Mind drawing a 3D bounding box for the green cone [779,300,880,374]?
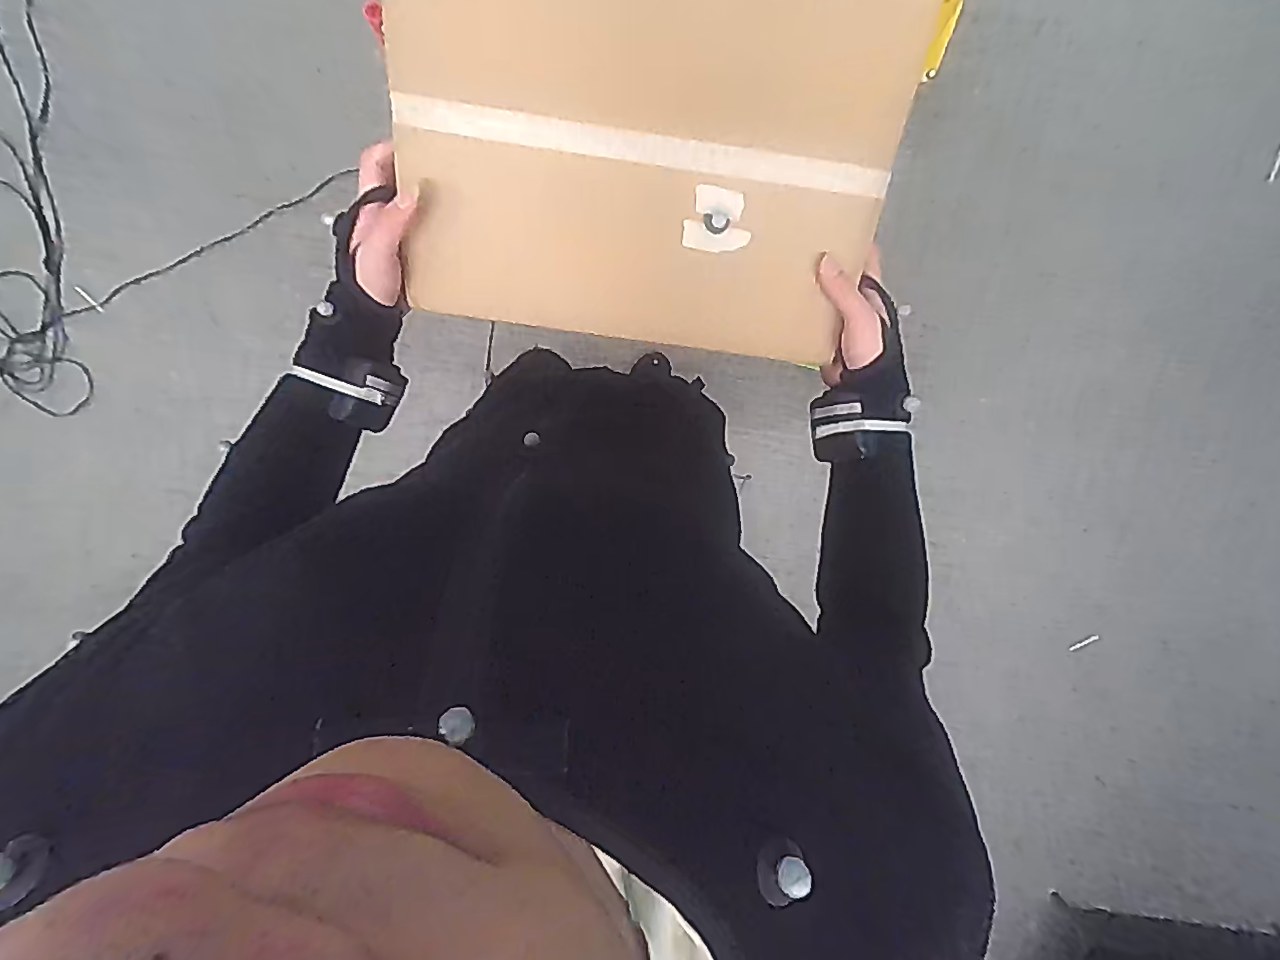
[{"bbox_3d":[0.507,-0.378,1.348,0.200,0.368,0.202,13,102,-2],"label":"green cone"}]

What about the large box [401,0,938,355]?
[{"bbox_3d":[0.008,-0.344,0.577,0.408,0.320,0.320,6,119,-5],"label":"large box"}]
